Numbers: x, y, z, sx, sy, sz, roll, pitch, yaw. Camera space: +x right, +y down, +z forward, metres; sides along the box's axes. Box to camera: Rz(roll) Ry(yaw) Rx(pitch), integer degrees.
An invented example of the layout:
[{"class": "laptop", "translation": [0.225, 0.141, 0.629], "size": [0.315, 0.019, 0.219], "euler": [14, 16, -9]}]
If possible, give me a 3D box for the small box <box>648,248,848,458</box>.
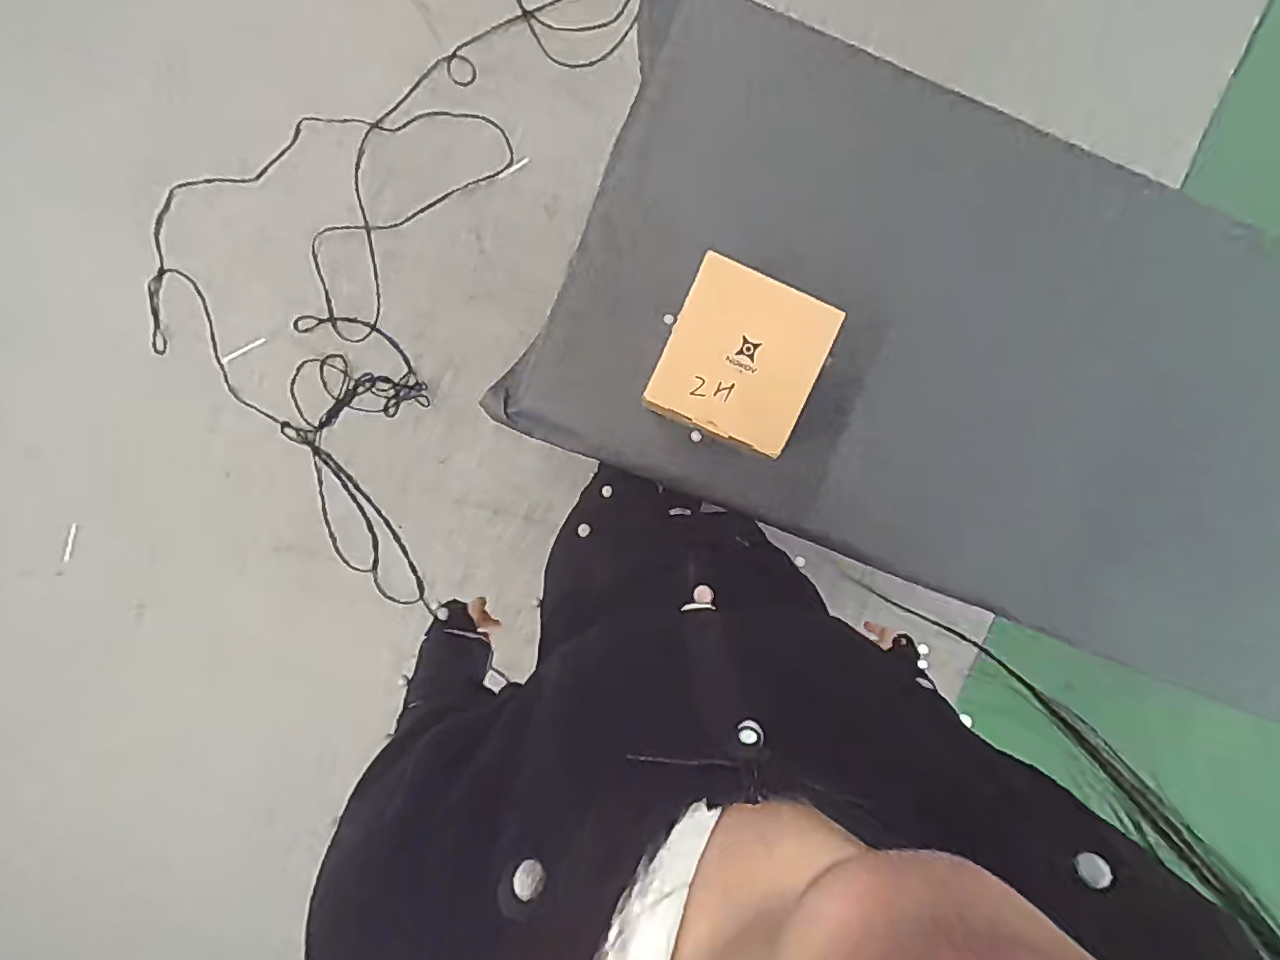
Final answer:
[{"class": "small box", "translation": [0.113, -0.141, 0.657], "size": [0.168, 0.176, 0.179], "euler": [24, 94, -2]}]
